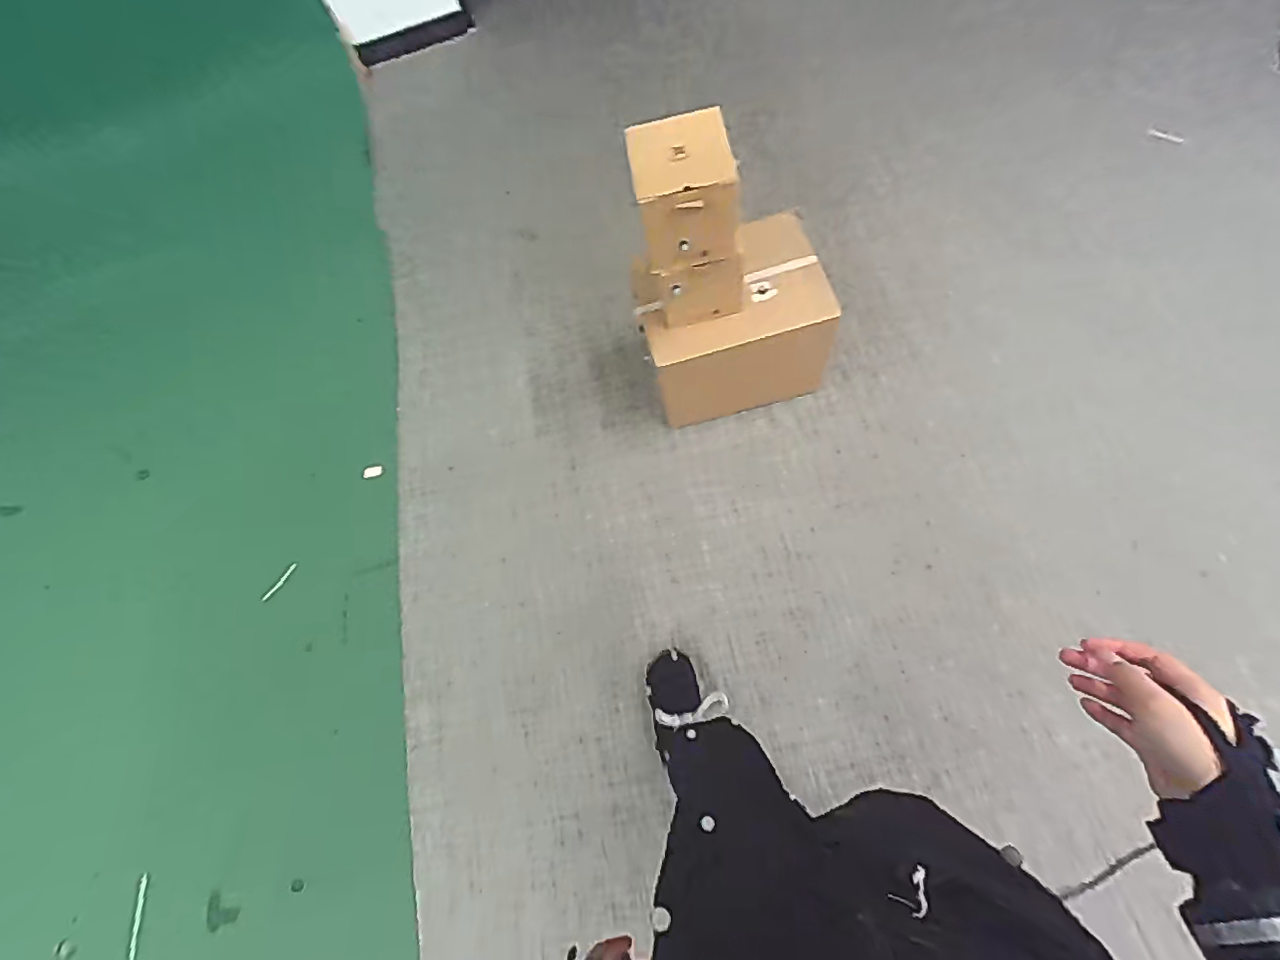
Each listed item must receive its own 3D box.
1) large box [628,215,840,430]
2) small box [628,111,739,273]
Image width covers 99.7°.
[{"bbox_3d":[0.215,-0.366,1.326,0.408,0.320,0.320,-15,69,3],"label":"large box"},{"bbox_3d":[0.077,-0.503,0.961,0.168,0.176,0.179,-10,68,5],"label":"small box"}]
